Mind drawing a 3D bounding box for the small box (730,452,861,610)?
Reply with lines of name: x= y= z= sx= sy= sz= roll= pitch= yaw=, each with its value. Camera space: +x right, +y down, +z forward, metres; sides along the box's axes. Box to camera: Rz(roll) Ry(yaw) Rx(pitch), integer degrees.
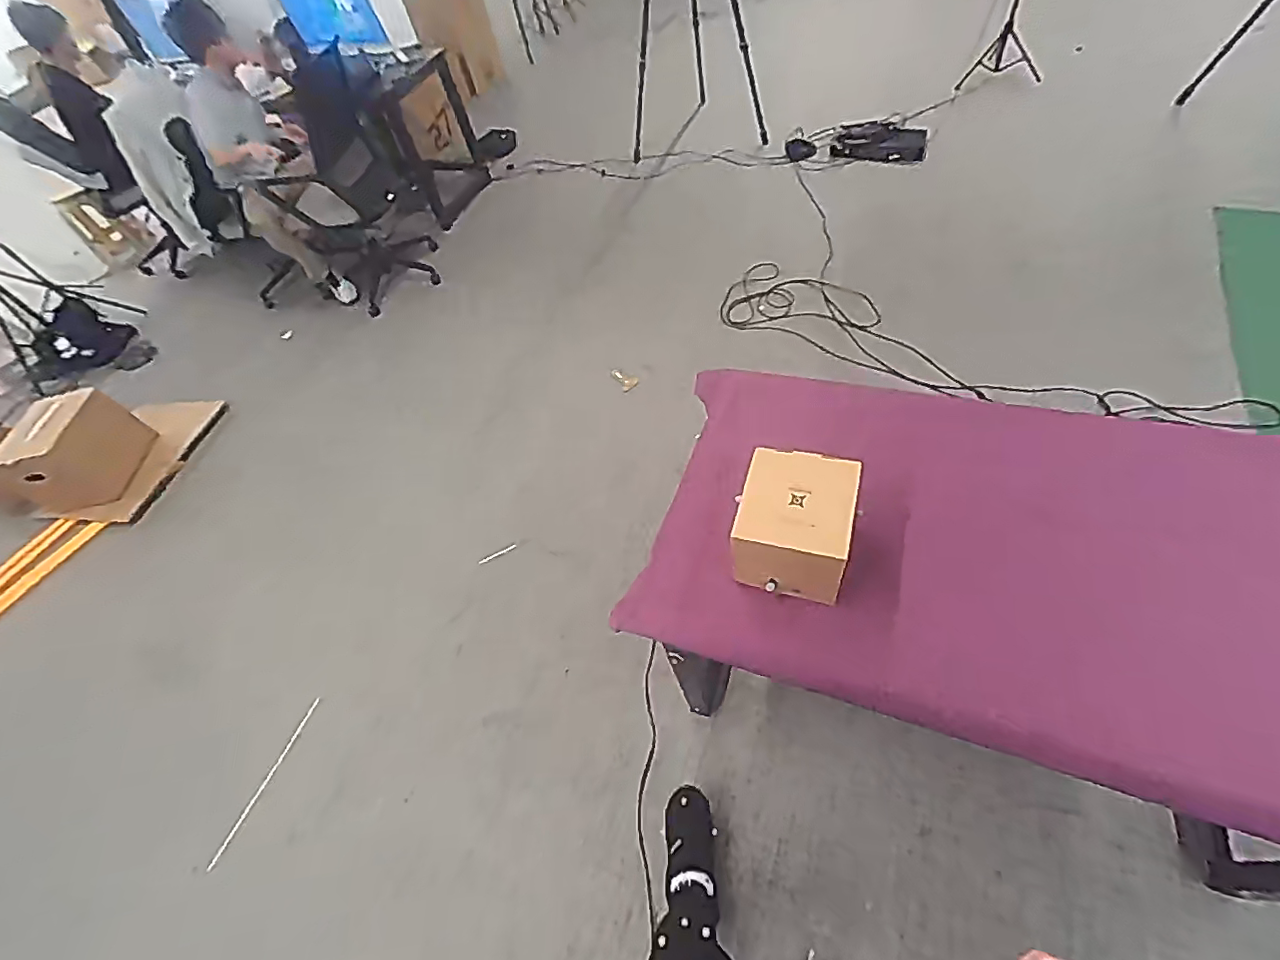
small box: x=0.248 y=0.083 z=0.871 sx=0.168 sy=0.176 sz=0.179 roll=10 pitch=58 yaw=20
